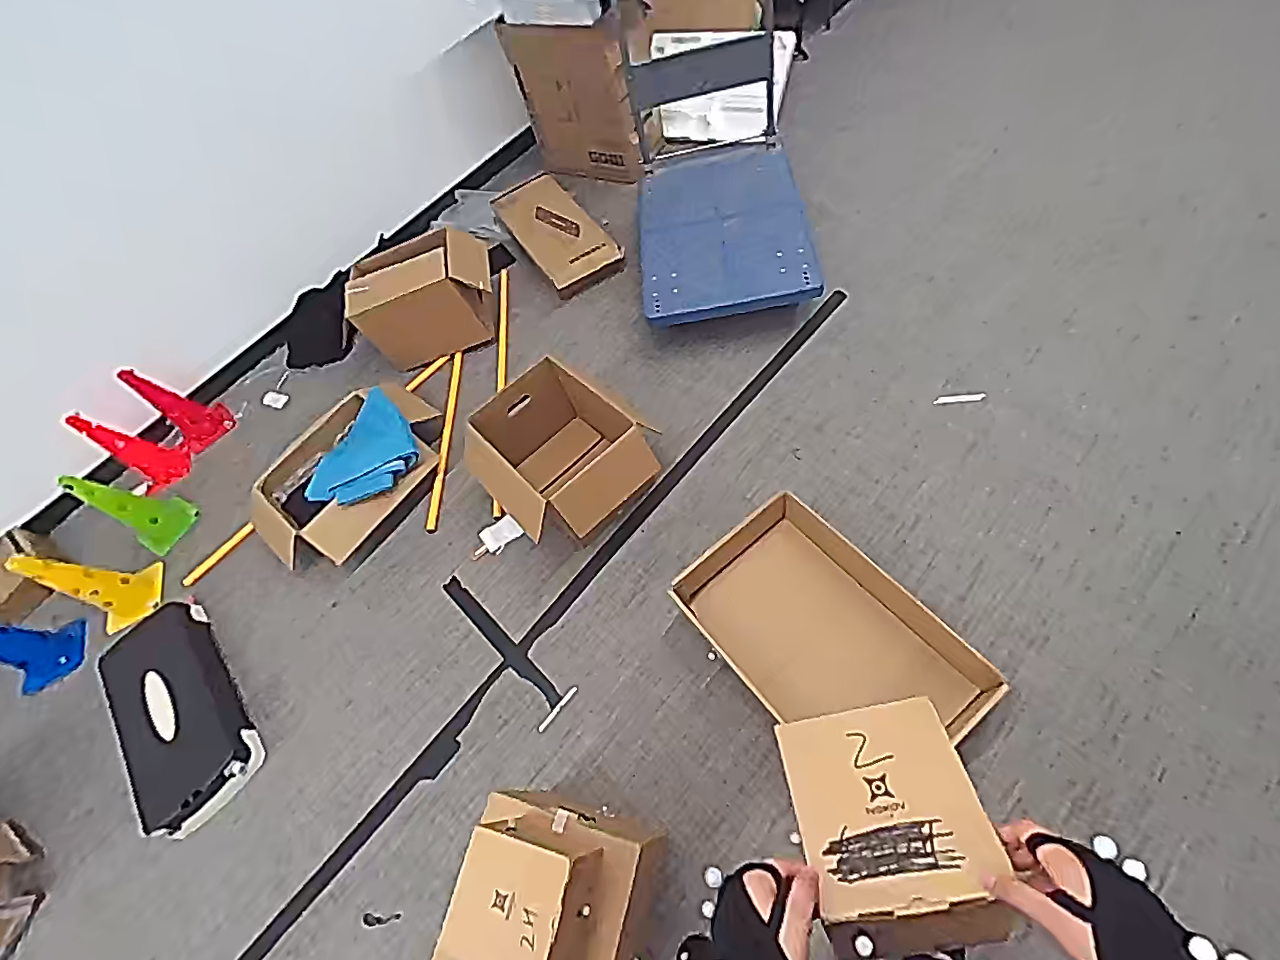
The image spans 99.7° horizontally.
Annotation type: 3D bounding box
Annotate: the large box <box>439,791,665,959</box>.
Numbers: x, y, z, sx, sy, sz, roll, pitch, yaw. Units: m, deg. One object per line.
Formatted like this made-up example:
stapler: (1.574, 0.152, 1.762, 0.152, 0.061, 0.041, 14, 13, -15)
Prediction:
large box: (-0.159, 0.865, 1.042, 0.320, 0.320, 0.408, 7, 64, 18)

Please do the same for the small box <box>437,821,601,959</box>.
small box: (-0.183, 0.667, 0.872, 0.179, 0.176, 0.168, 7, 64, 17)
